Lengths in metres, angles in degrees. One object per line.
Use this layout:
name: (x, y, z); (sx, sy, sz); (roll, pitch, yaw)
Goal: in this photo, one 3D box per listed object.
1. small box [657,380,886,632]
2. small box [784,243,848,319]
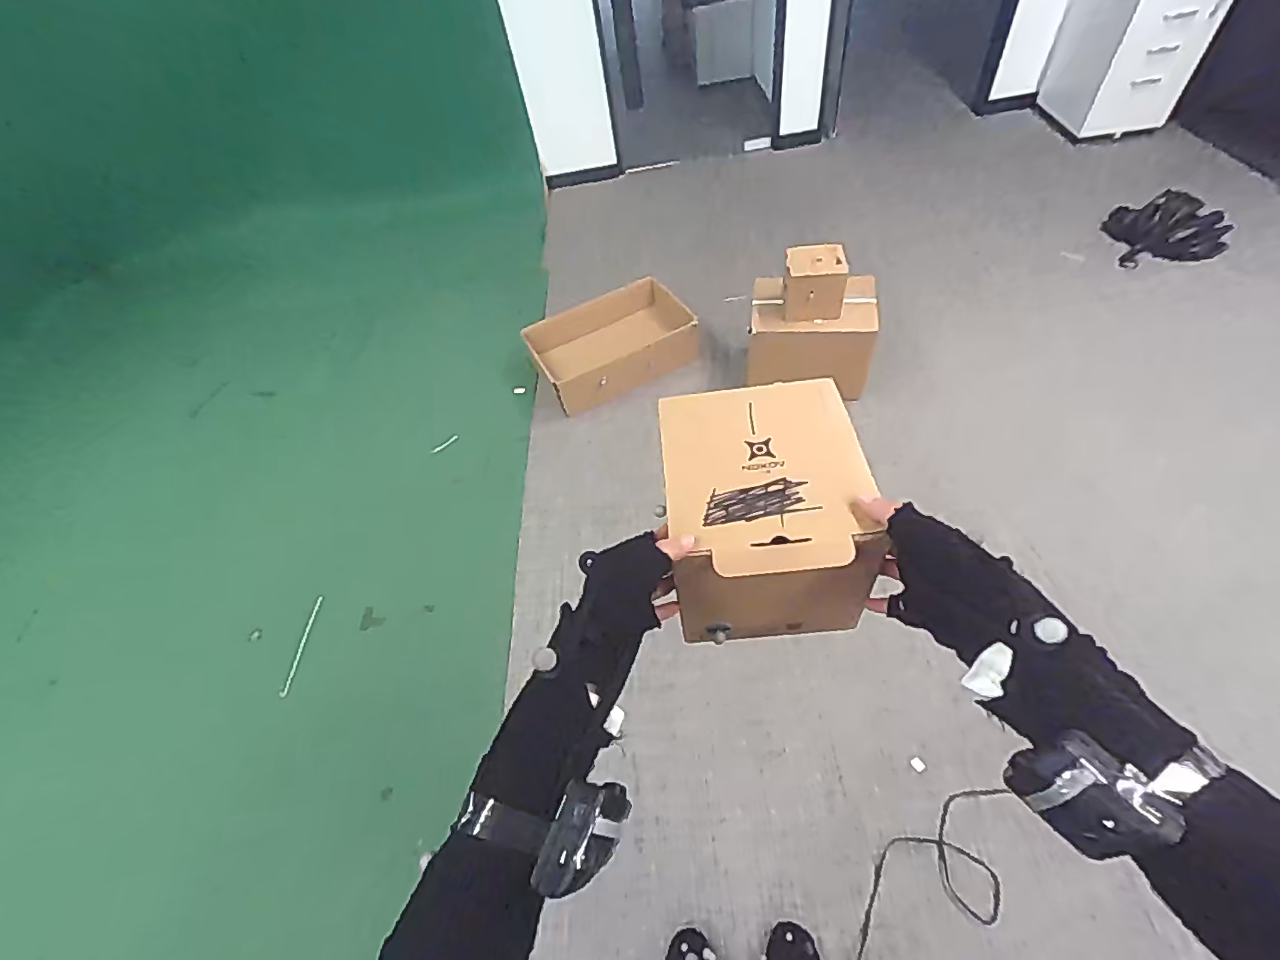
small box: (0.110, 0.033, 0.514); (0.168, 0.176, 0.179); (-6, 50, 4)
small box: (0.565, -0.643, 1.759); (0.179, 0.176, 0.168); (-2, 53, 9)
